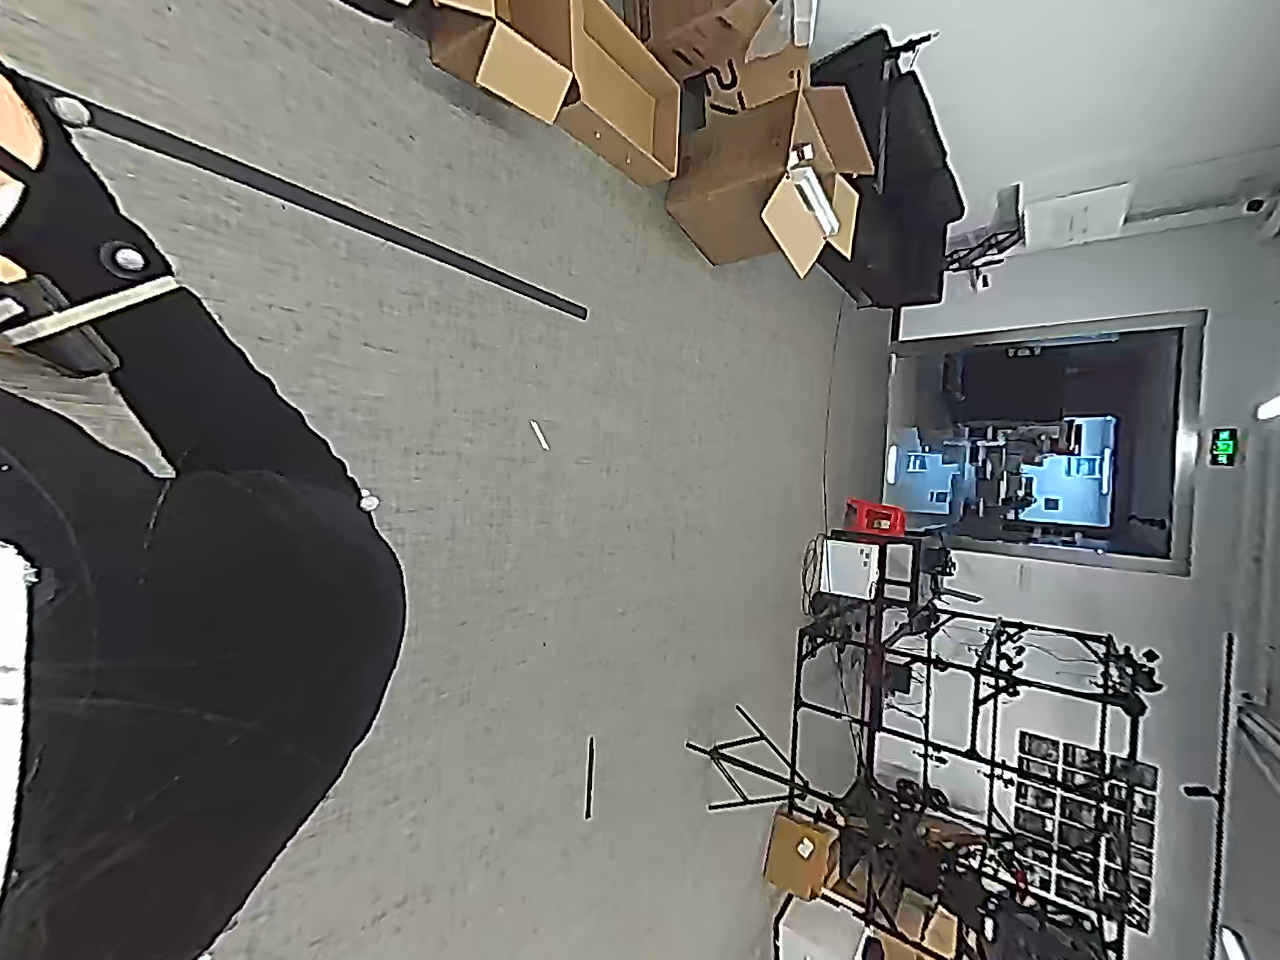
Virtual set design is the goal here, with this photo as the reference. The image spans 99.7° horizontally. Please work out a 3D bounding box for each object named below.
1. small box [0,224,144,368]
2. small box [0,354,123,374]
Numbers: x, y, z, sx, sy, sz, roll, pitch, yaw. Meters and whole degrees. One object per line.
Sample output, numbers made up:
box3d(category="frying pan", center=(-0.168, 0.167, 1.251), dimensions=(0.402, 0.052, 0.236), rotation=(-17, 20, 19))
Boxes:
box3d(category="small box", center=(-0.952, -0.290, 0.895), dimensions=(0.168, 0.176, 0.179), rotation=(1, 94, -52))
box3d(category="small box", center=(-1.079, -0.297, 0.997), dimensions=(0.179, 0.176, 0.168), rotation=(9, 86, -54))
